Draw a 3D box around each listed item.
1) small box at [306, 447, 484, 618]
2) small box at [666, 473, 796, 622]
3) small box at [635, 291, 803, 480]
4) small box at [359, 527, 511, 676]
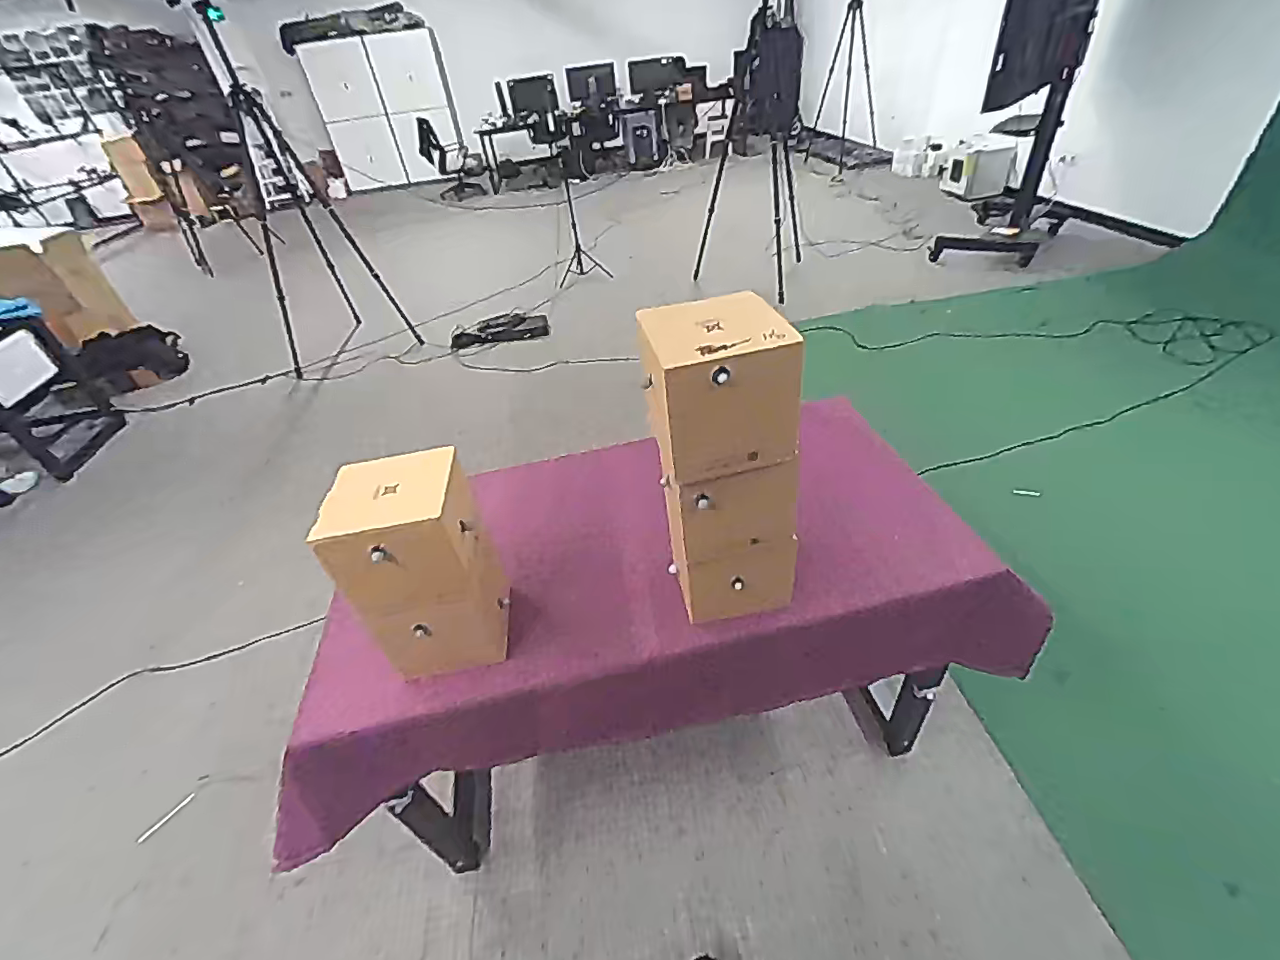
[{"bbox_3d":[-0.342,0.078,0.801,0.179,0.176,0.168,-12,39,-2],"label":"small box"},{"bbox_3d":[0.150,0.116,0.924,0.179,0.176,0.168,-11,39,-2],"label":"small box"},{"bbox_3d":[0.095,-0.125,0.705,0.168,0.176,0.179,-13,38,-4],"label":"small box"},{"bbox_3d":[-0.328,0.204,0.904,0.179,0.176,0.168,-10,40,-2],"label":"small box"}]
